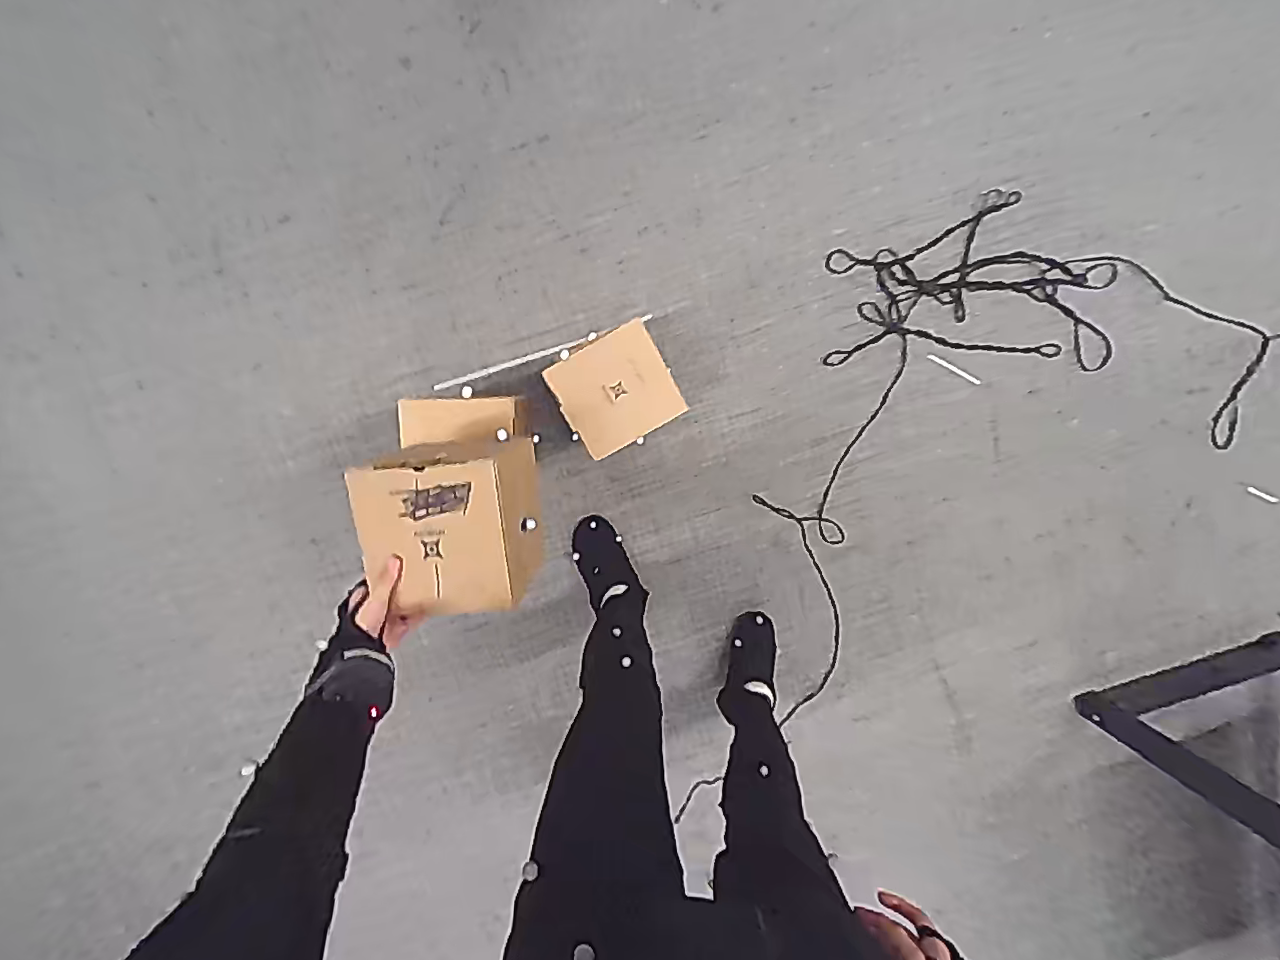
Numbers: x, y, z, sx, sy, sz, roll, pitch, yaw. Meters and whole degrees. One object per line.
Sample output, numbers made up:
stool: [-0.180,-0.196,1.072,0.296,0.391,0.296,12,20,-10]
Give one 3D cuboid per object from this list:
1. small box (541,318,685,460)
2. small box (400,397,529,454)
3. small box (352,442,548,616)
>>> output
small box: [-0.045,-0.153,0.924,0.179,0.176,0.168,-29,101,1]
small box: [-0.289,-0.056,0.924,0.179,0.176,0.168,-2,99,-5]
small box: [-0.218,0.049,0.667,0.168,0.176,0.179,-3,103,5]
